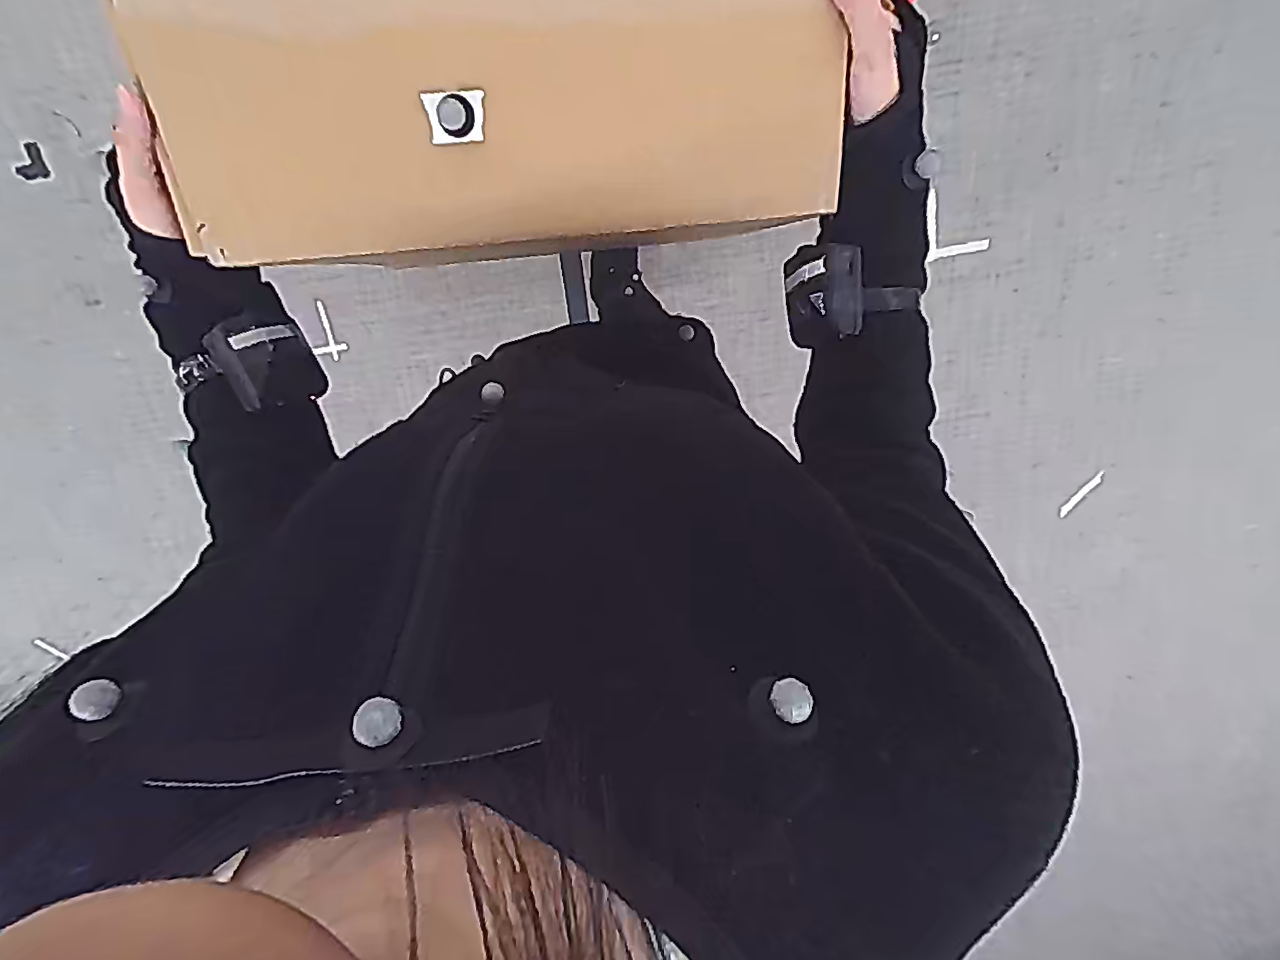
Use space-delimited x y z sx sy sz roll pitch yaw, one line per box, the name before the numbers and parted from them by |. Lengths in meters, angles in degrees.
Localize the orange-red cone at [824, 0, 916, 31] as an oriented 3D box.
orange-red cone | 0.478 -1.005 0.949 0.199 0.360 0.198 -17 108 1
